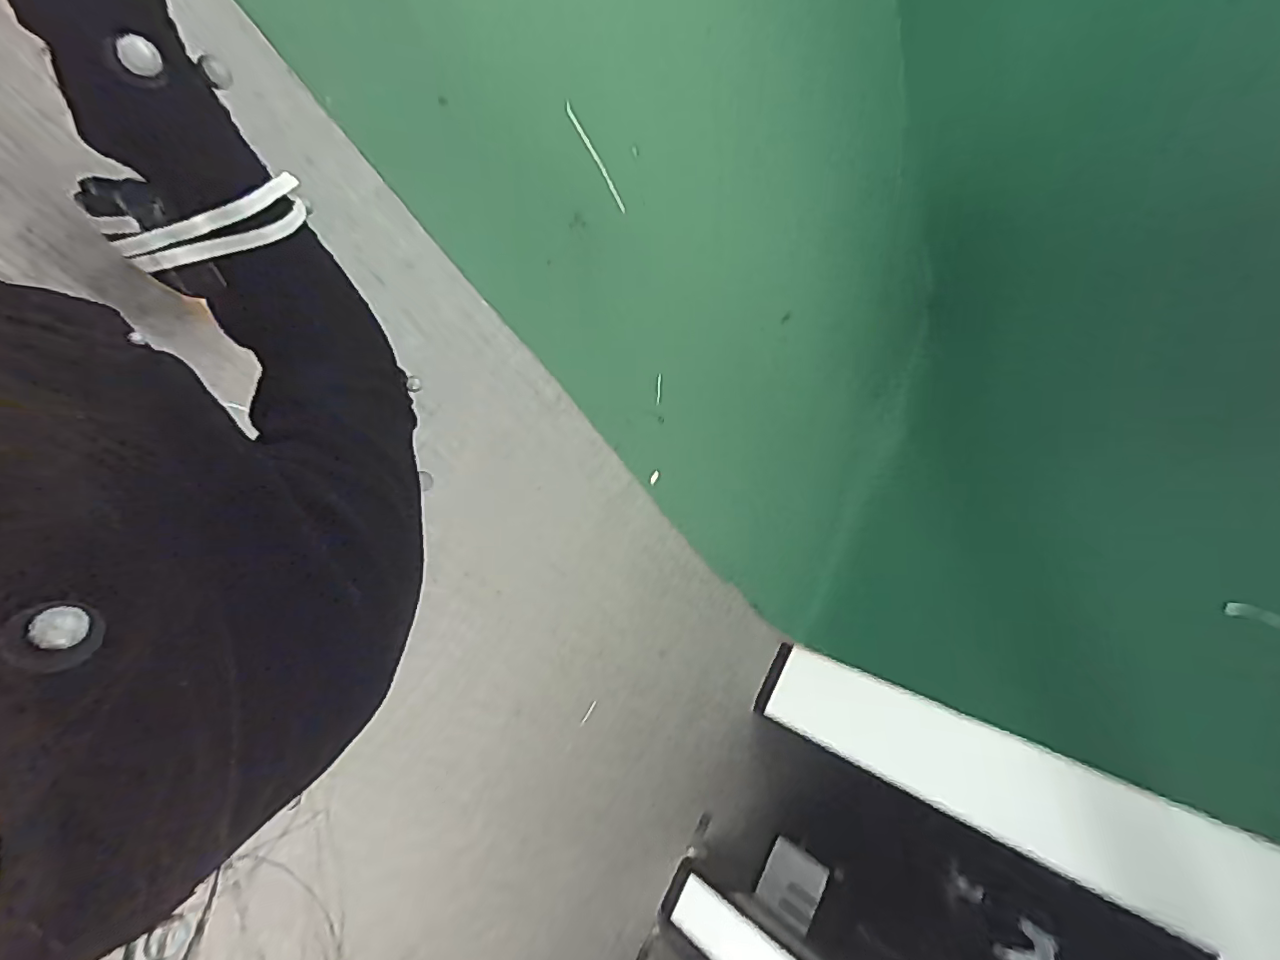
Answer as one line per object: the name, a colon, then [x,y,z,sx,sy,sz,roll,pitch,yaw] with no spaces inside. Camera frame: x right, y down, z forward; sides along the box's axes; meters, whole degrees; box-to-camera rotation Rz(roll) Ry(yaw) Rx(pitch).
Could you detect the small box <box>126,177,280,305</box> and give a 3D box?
small box: [-0.882,-0.472,1.092,0.179,0.176,0.168,-56,135,-21]
